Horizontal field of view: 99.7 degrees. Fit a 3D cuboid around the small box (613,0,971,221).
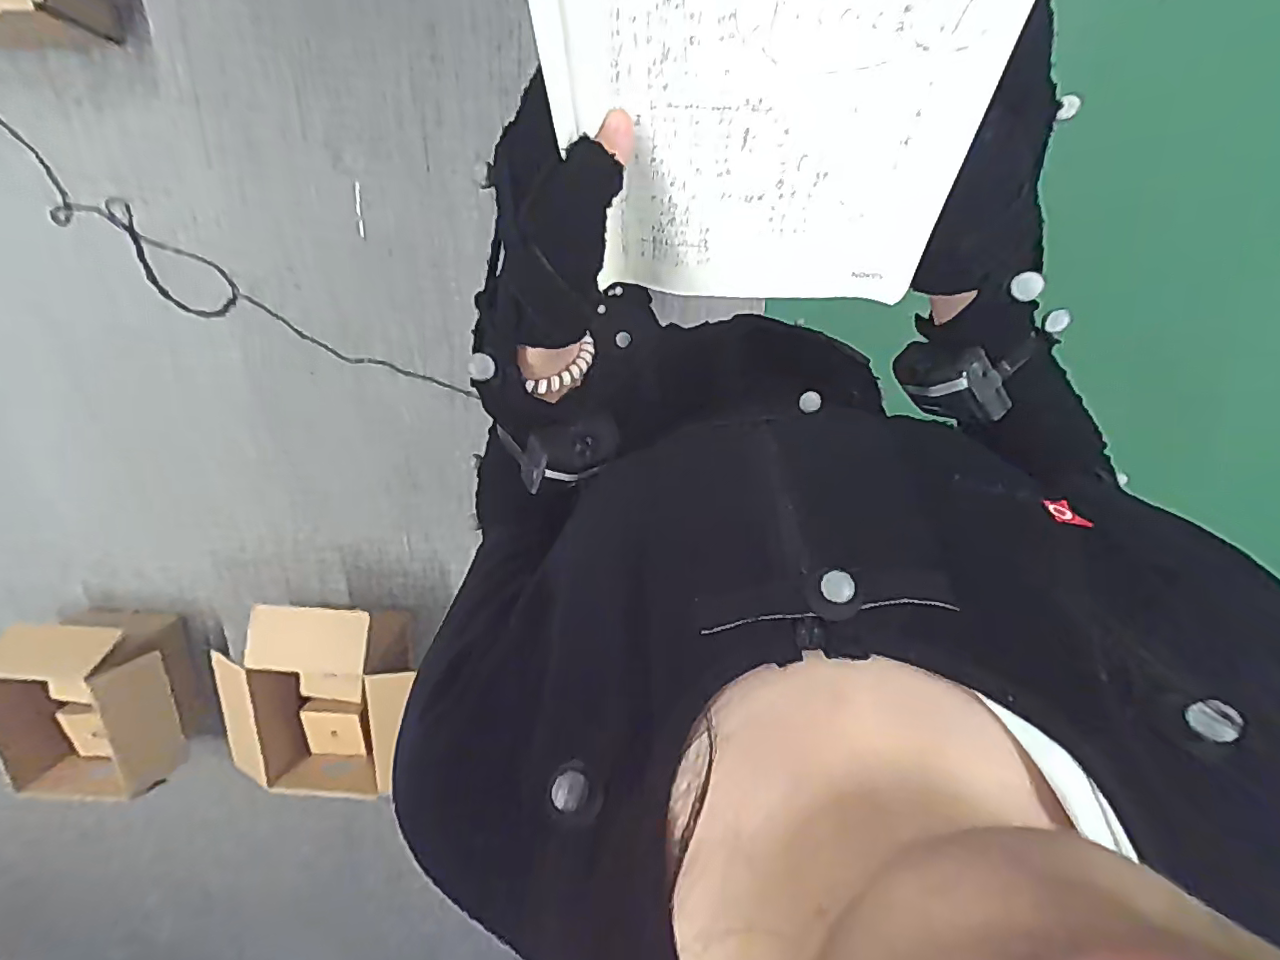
[{"bbox_3d":[0.073,-0.269,0.313,0.168,0.176,0.179,-3,128,7],"label":"small box"}]
